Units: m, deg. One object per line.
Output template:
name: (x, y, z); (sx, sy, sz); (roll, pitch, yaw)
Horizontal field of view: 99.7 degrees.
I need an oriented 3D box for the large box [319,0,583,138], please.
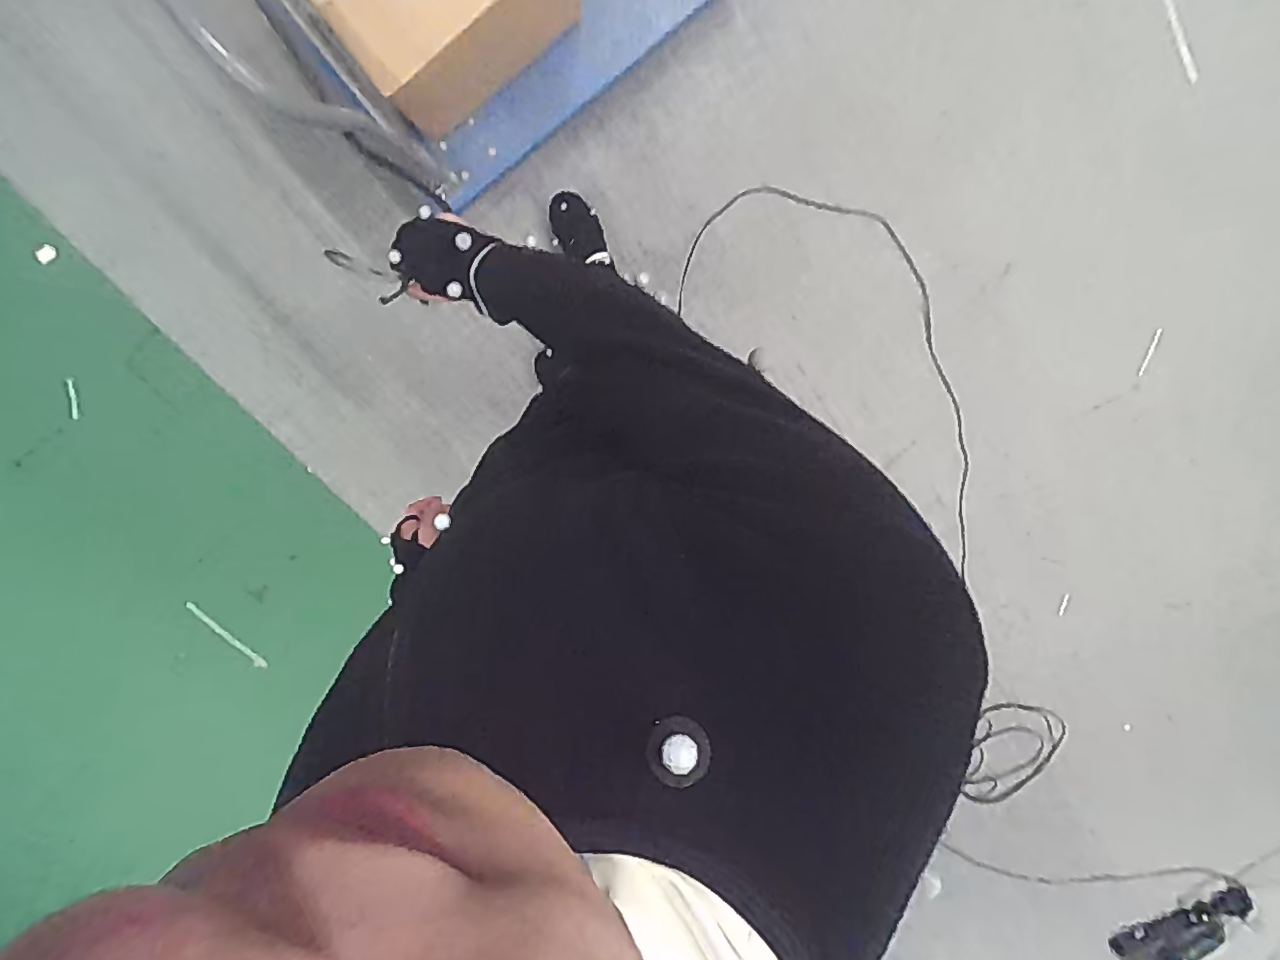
large box: (-0.352, -0.908, 0.951); (0.408, 0.320, 0.320); (-35, 109, 8)
